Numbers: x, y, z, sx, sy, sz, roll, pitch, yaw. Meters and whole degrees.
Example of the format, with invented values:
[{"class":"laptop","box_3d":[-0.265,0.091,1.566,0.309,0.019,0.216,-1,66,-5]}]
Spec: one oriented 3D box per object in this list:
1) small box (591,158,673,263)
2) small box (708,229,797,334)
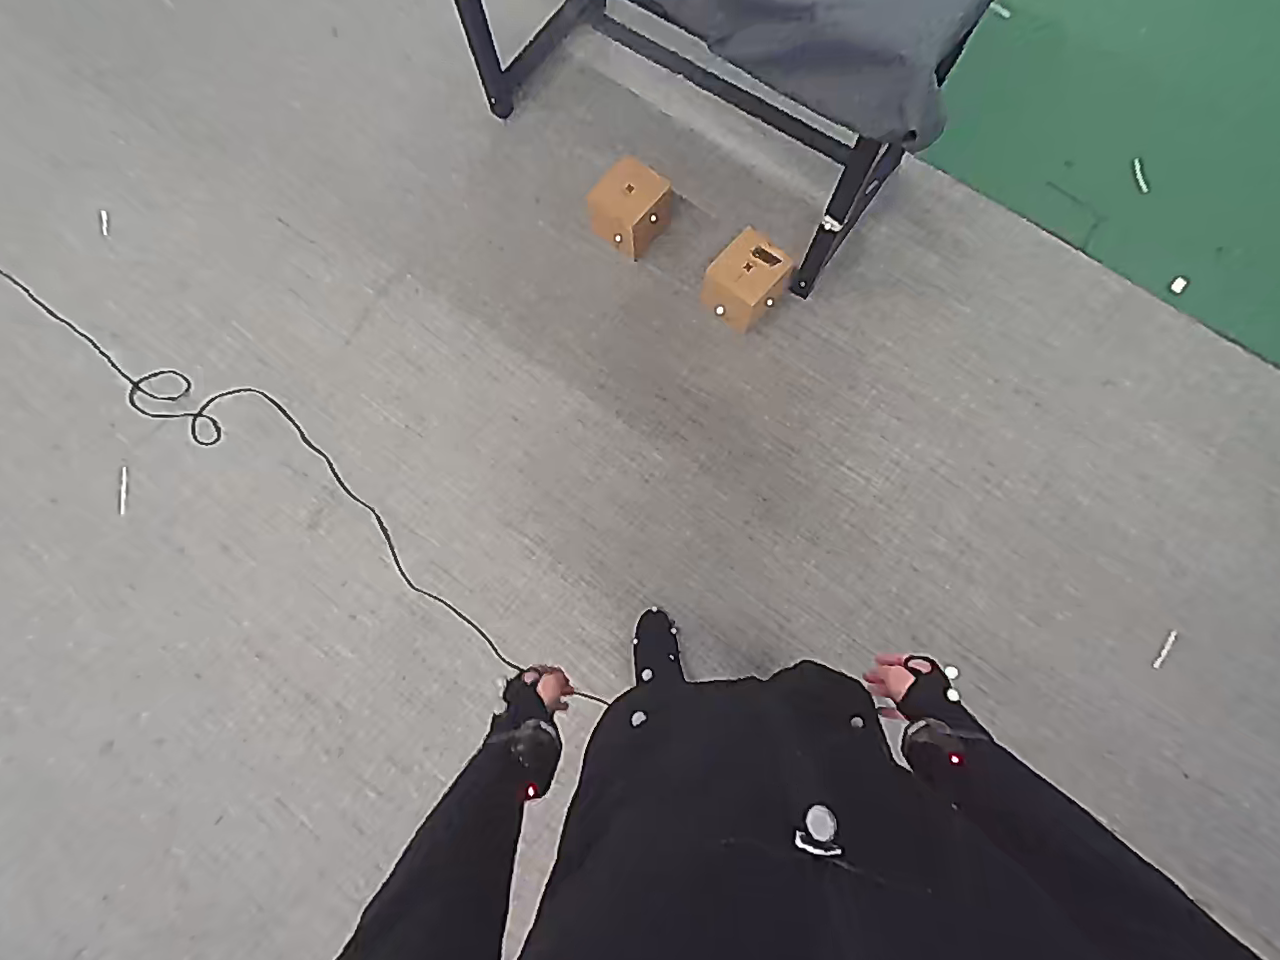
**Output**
[{"class":"small box","box_3d":[-0.019,-0.777,1.577,0.168,0.176,0.179,38,80,8]},{"class":"small box","box_3d":[0.304,-0.547,1.508,0.168,0.176,0.179,41,83,10]}]
